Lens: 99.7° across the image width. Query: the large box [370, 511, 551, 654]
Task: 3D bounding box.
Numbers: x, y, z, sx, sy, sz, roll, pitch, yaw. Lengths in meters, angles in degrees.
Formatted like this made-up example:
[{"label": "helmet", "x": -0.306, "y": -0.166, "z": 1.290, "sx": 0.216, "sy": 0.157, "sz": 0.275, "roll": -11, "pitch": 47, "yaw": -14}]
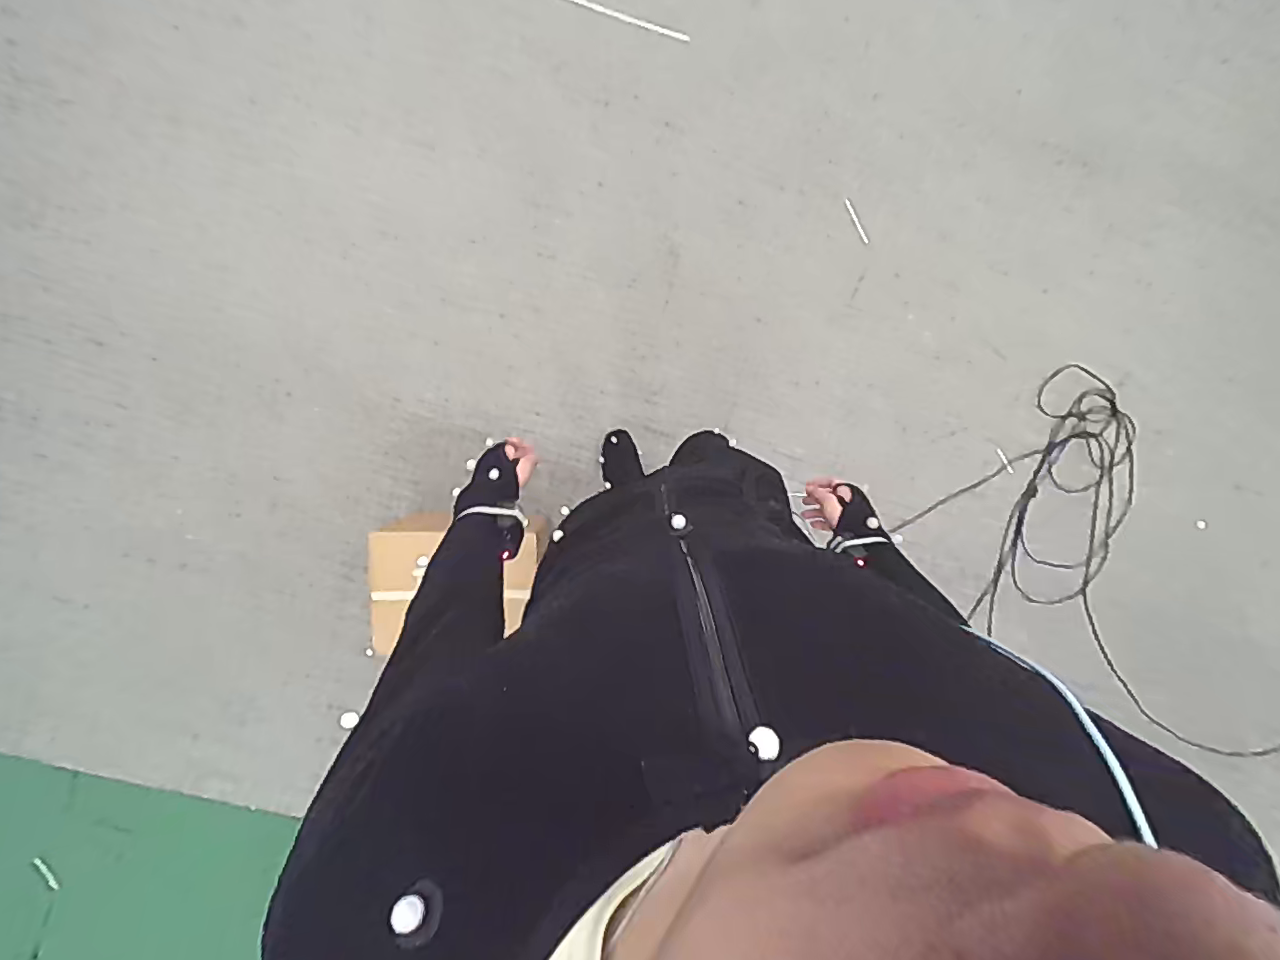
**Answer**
[{"label": "large box", "x": -0.460, "y": 0.262, "z": 1.473, "sx": 0.408, "sy": 0.320, "sz": 0.320, "roll": 1, "pitch": 95, "yaw": -3}]
